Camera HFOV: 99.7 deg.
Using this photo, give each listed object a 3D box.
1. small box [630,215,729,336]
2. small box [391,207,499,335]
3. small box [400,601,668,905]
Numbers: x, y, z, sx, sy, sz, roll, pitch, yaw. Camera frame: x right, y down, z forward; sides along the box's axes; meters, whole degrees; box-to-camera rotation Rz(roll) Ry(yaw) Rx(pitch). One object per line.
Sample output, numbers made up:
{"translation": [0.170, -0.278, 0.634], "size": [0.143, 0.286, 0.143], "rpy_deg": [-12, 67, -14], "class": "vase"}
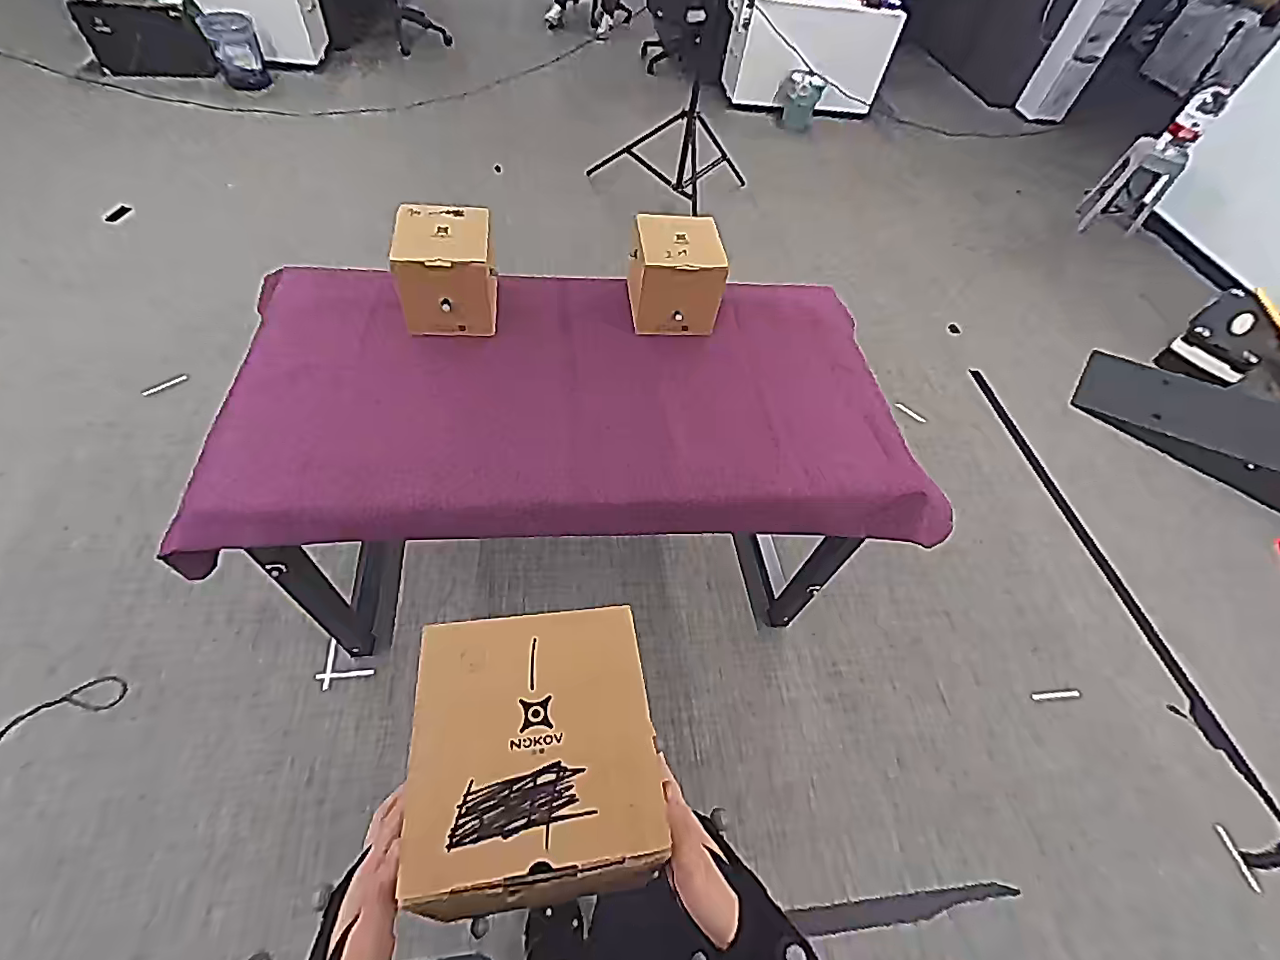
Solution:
{"translation": [0.073, -0.425, 1.131], "size": [0.168, 0.176, 0.179], "rpy_deg": [-2, 56, -8], "class": "small box"}
{"translation": [-0.368, -0.400, 1.052], "size": [0.168, 0.176, 0.179], "rpy_deg": [-2, 57, -10], "class": "small box"}
{"translation": [-0.080, 0.223, 0.439], "size": [0.168, 0.176, 0.179], "rpy_deg": [-3, 47, -11], "class": "small box"}
